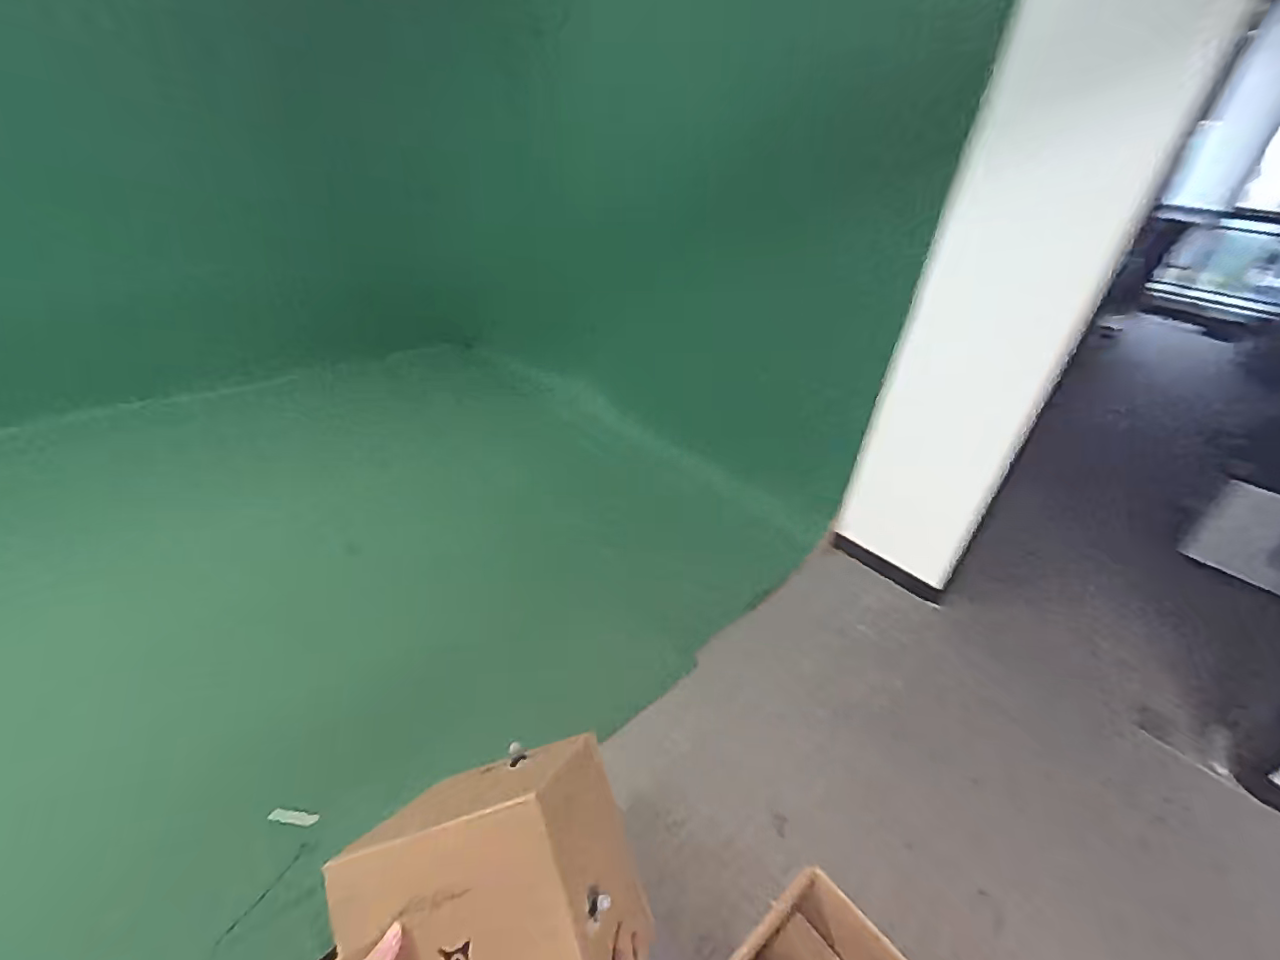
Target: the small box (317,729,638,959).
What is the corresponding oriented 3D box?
[{"bbox_3d":[-0.111,0.331,0.432,0.168,0.176,0.179,-21,78,5],"label":"small box"}]
